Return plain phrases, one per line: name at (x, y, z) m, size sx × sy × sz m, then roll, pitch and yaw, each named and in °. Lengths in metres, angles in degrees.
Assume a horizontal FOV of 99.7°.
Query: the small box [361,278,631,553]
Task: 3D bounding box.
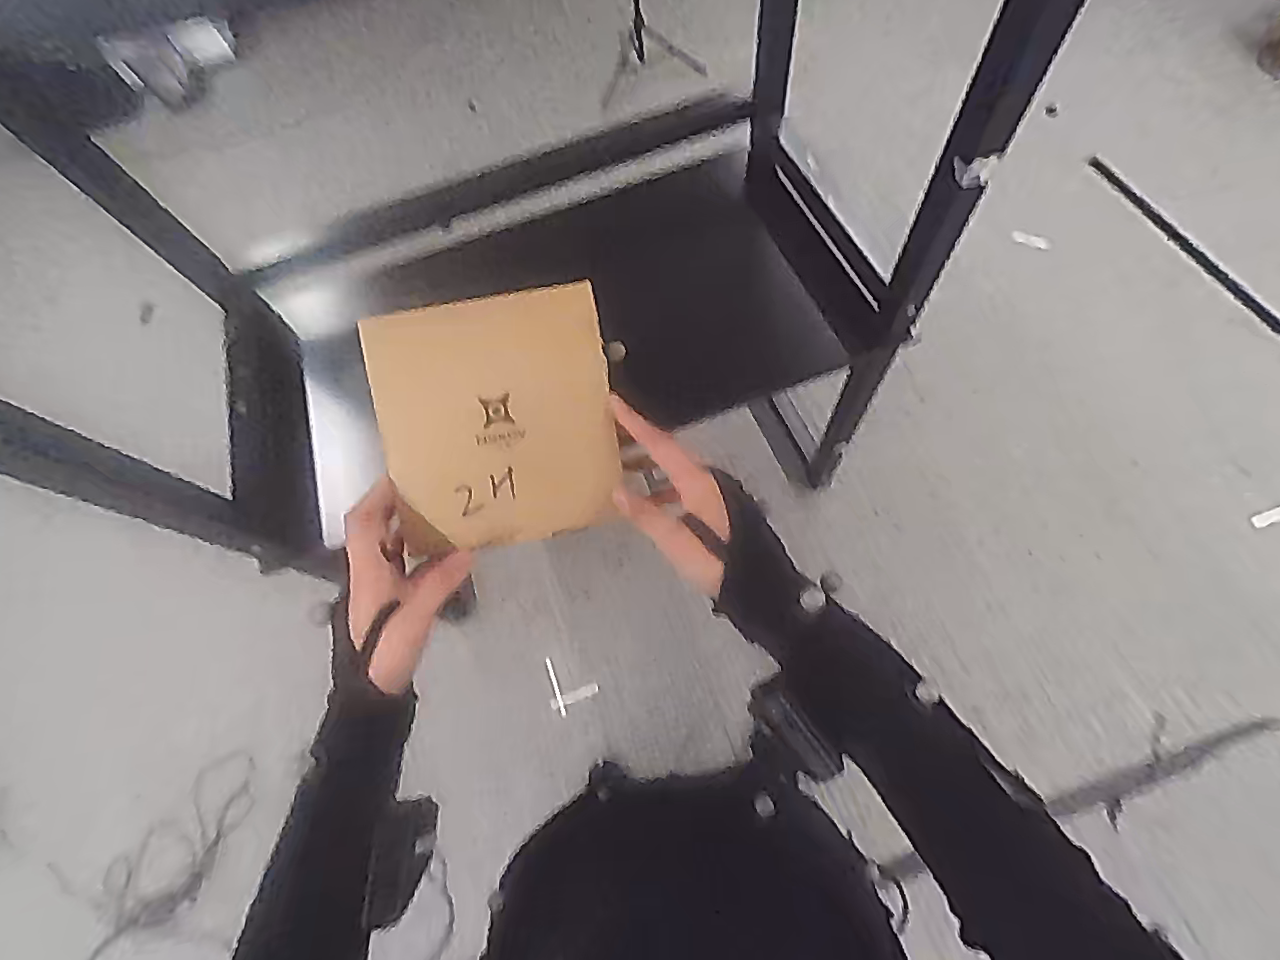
small box at (-0.103, -0.051, 0.457) m, size 0.168 × 0.176 × 0.179 m, roll -9°, pitch 96°, yaw -1°
